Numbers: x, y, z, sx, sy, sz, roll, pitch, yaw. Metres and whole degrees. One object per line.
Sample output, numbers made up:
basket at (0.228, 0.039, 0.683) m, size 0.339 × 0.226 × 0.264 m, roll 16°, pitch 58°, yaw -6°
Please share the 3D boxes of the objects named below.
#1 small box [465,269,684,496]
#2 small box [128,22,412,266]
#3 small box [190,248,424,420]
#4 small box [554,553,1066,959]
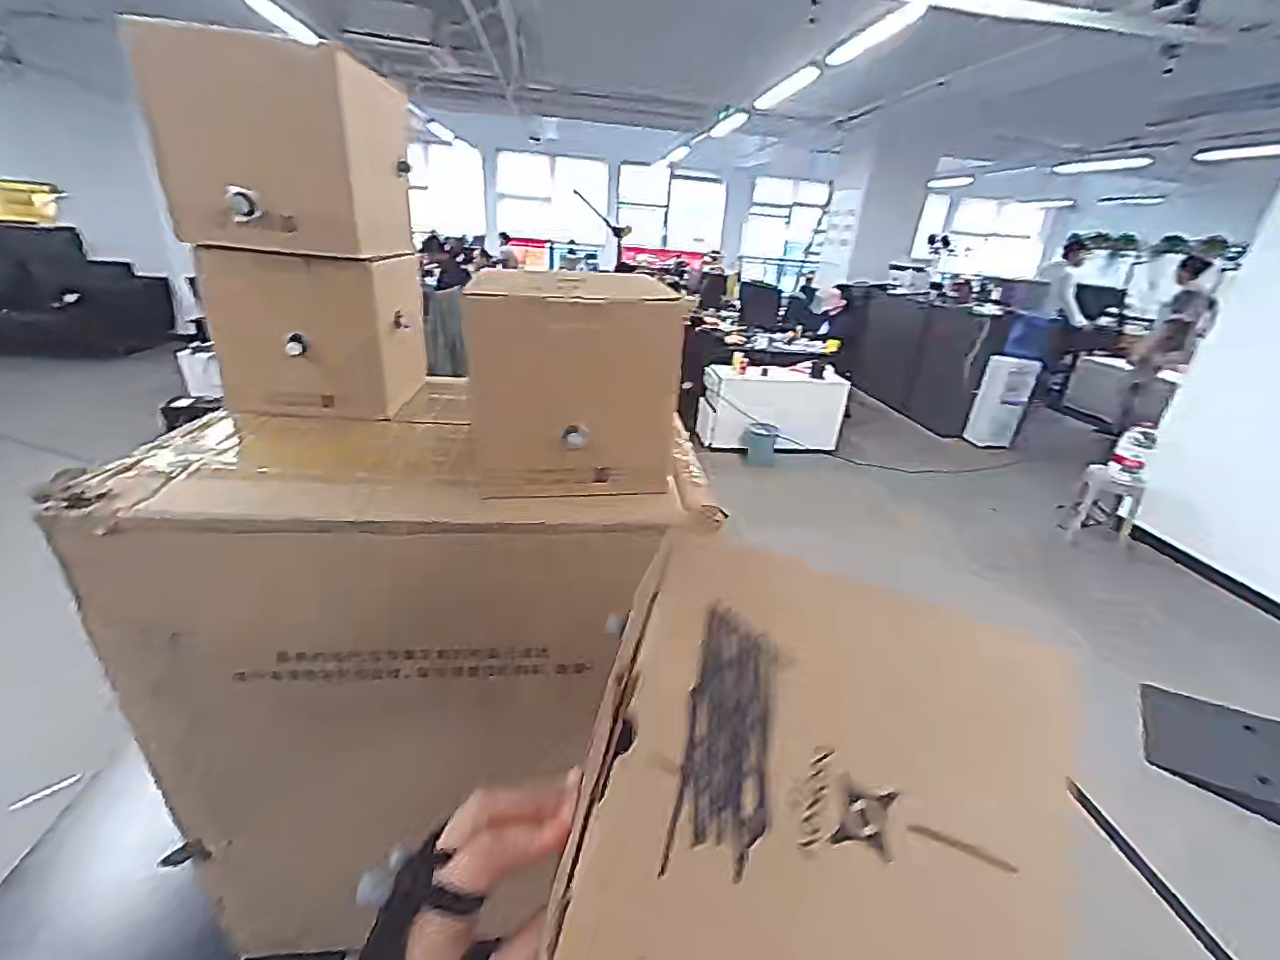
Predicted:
small box at (-0.063, -0.097, 0.507) m, size 0.168 × 0.176 × 0.179 m, roll -2°, pitch 27°, yaw -9°
small box at (-0.337, -0.315, 0.540) m, size 0.168 × 0.176 × 0.179 m, roll 2°, pitch 25°, yaw -6°
small box at (-0.356, -0.174, 0.622) m, size 0.168 × 0.176 × 0.179 m, roll 2°, pitch 25°, yaw -8°
small box at (0.068, 0.157, 0.277) m, size 0.179 × 0.176 × 0.168 m, roll 17°, pitch 68°, yaw 1°
